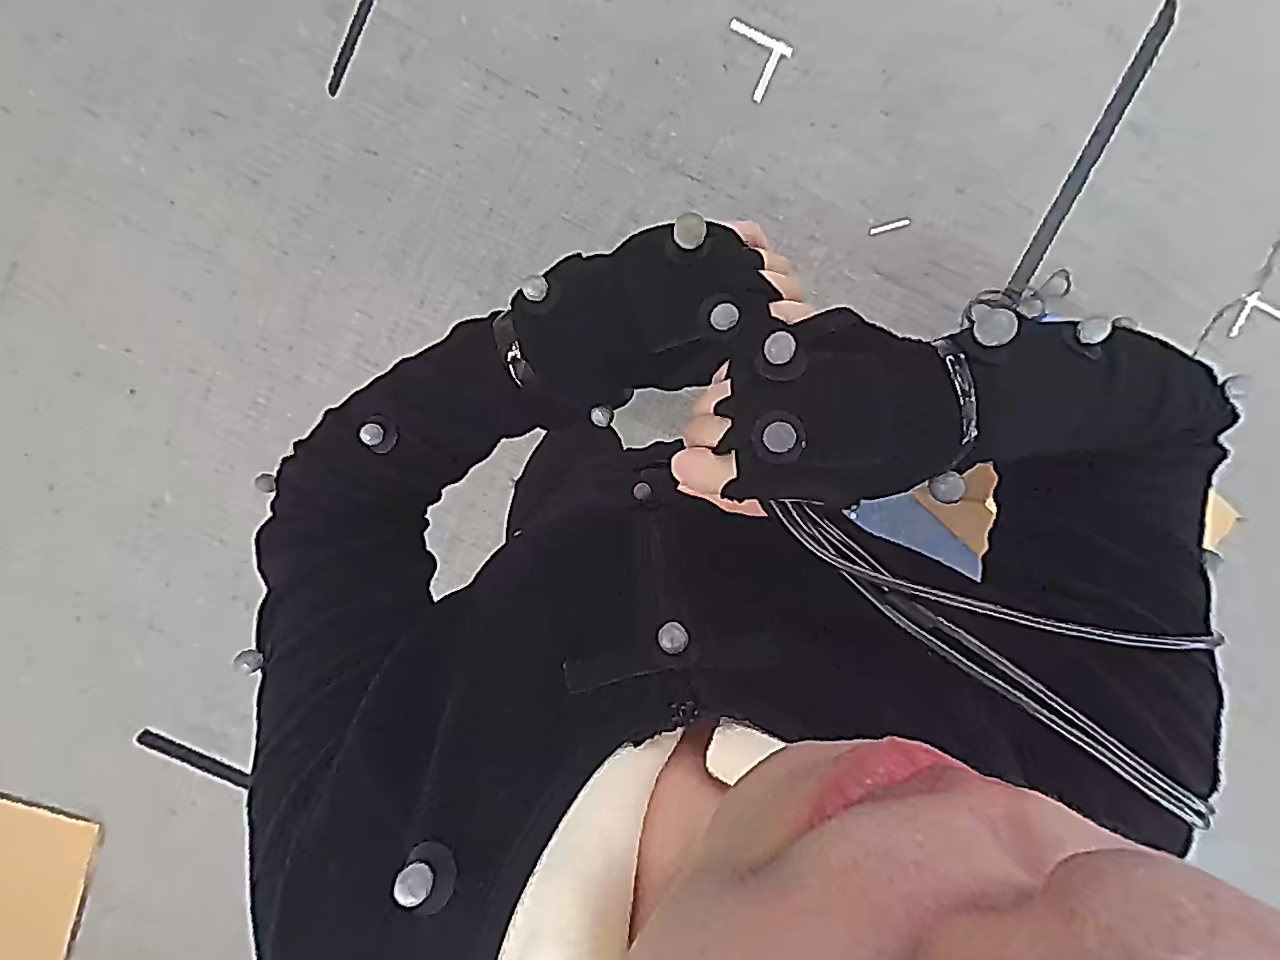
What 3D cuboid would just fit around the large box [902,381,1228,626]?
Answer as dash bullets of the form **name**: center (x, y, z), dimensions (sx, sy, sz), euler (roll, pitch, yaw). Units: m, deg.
- **large box**: center (0.886, 0.036, 1.184), dimensions (0.408, 0.320, 0.320), euler (40, 94, -5)
